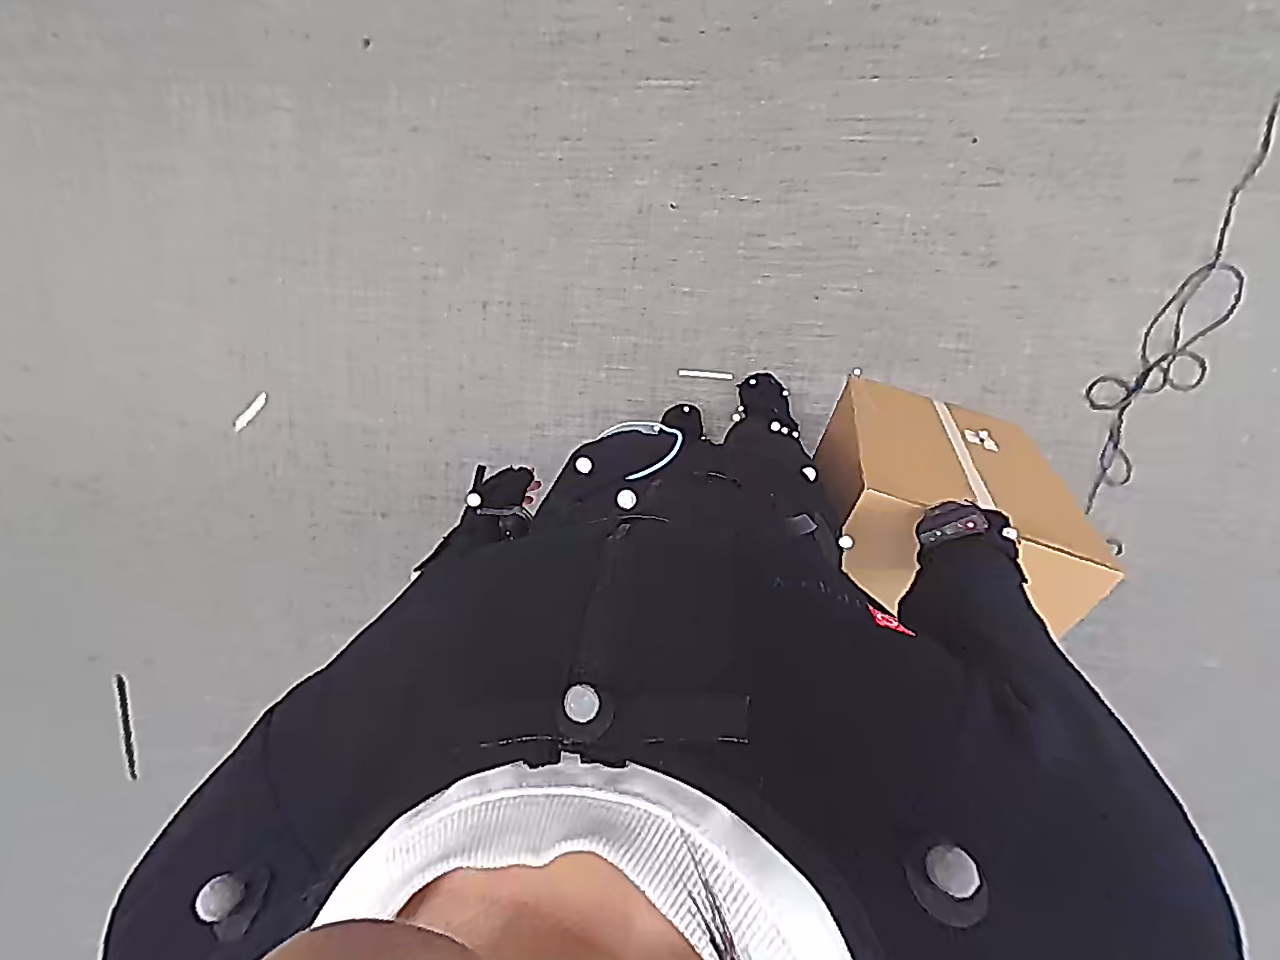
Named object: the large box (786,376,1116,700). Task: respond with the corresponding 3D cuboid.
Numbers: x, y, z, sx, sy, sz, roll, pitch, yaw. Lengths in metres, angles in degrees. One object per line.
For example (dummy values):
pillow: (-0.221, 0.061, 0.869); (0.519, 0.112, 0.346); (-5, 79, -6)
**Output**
large box: (0.445, 0.073, 0.905); (0.320, 0.408, 0.320); (19, 123, 5)
